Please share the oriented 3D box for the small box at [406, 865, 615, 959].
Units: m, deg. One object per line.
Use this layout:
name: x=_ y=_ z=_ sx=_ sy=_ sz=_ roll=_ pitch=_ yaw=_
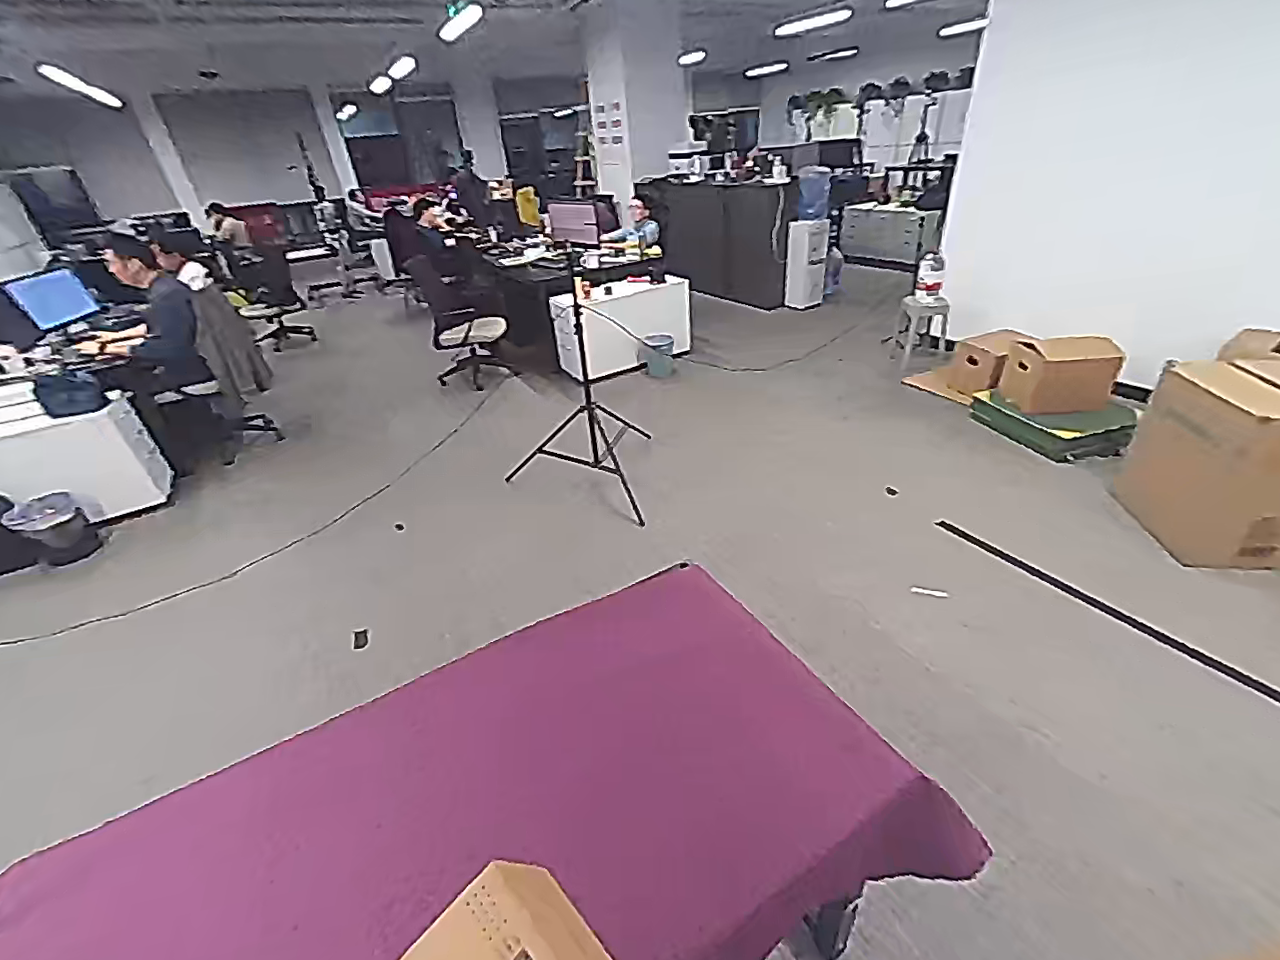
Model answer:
small box: x=-0.092 y=0.399 z=0.365 sx=0.176 sy=0.179 sz=0.168 roll=-39 pitch=58 yaw=-23
